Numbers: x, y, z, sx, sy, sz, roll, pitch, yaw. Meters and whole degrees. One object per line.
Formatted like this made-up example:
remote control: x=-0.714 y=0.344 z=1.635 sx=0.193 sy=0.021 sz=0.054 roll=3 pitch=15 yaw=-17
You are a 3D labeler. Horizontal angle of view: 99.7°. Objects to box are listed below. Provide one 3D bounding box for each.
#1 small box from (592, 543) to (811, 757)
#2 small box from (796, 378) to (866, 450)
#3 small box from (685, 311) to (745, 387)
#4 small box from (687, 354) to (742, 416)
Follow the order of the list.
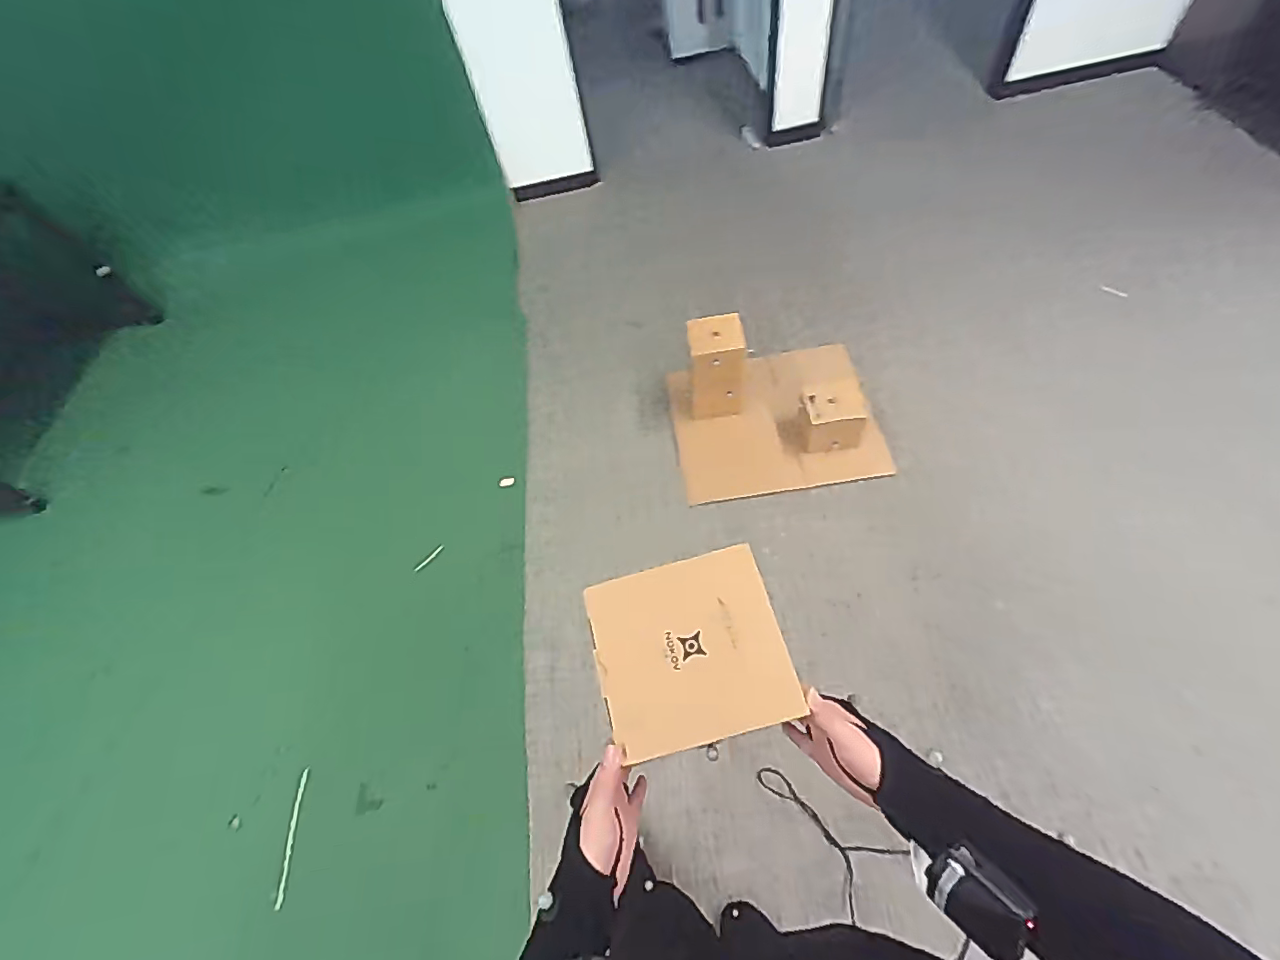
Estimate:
small box: x=0.061 y=0.188 z=0.576 sx=0.179 sy=0.176 sz=0.168 roll=-14 pitch=64 yaw=1
small box: x=0.633 y=-0.218 z=1.810 sx=0.179 sy=0.176 sz=0.168 roll=-7 pitch=57 yaw=6
small box: x=0.250 y=-0.435 z=1.812 sx=0.179 sy=0.176 sz=0.168 roll=-8 pitch=58 yaw=5
small box: x=0.266 y=-0.350 z=1.949 sx=0.179 sy=0.176 sz=0.168 roll=-8 pitch=57 yaw=5
